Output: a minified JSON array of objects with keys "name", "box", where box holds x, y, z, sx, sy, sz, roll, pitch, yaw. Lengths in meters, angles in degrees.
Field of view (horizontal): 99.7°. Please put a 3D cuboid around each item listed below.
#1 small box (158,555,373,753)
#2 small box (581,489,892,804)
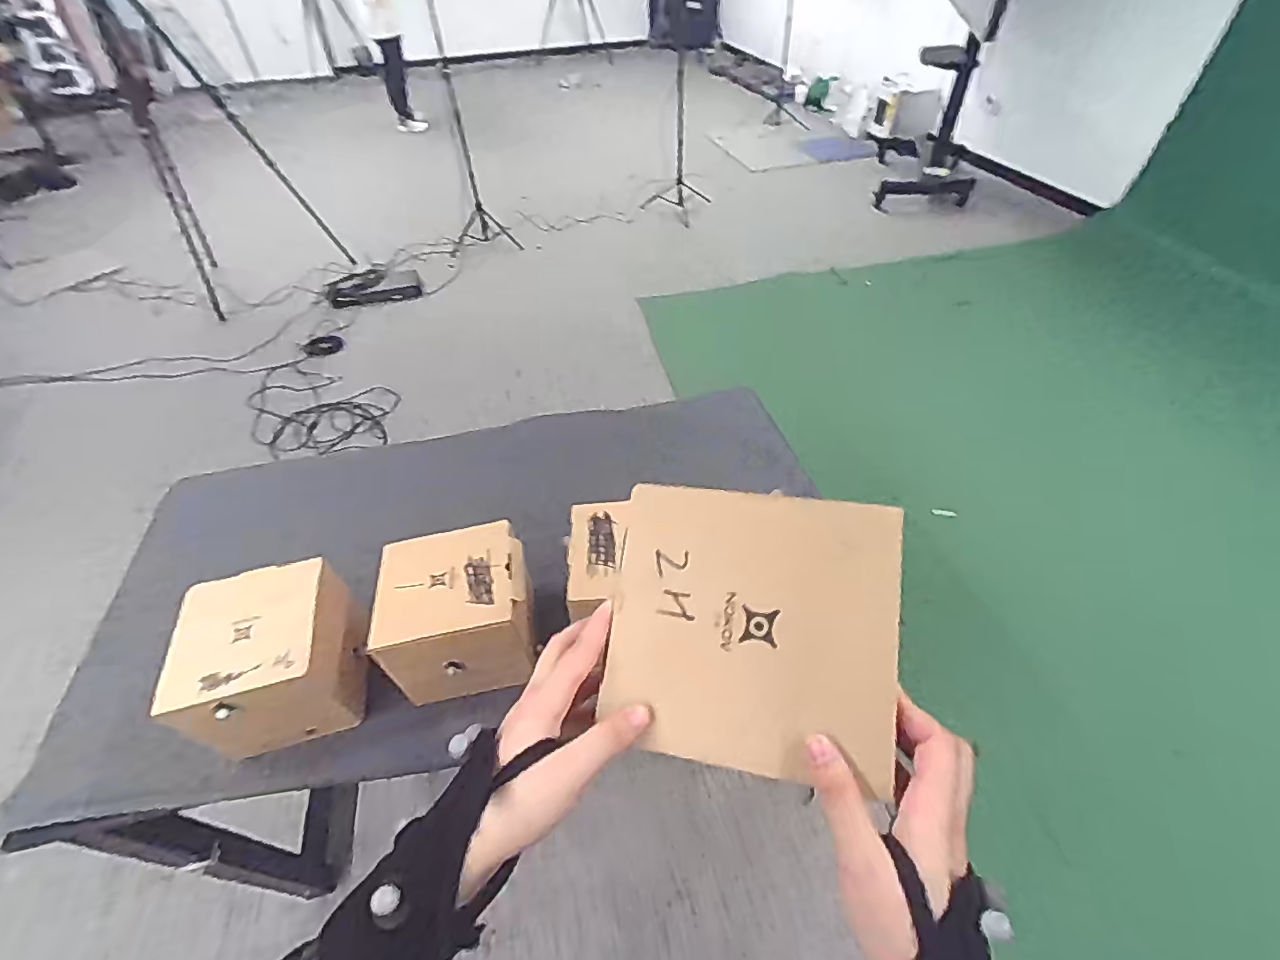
[{"name":"small box","box":[-0.478,0.234,0.728,0.168,0.176,0.179,-13,48,-8]},{"name":"small box","box":[0.077,0.112,0.402,0.179,0.176,0.168,3,73,16]}]
